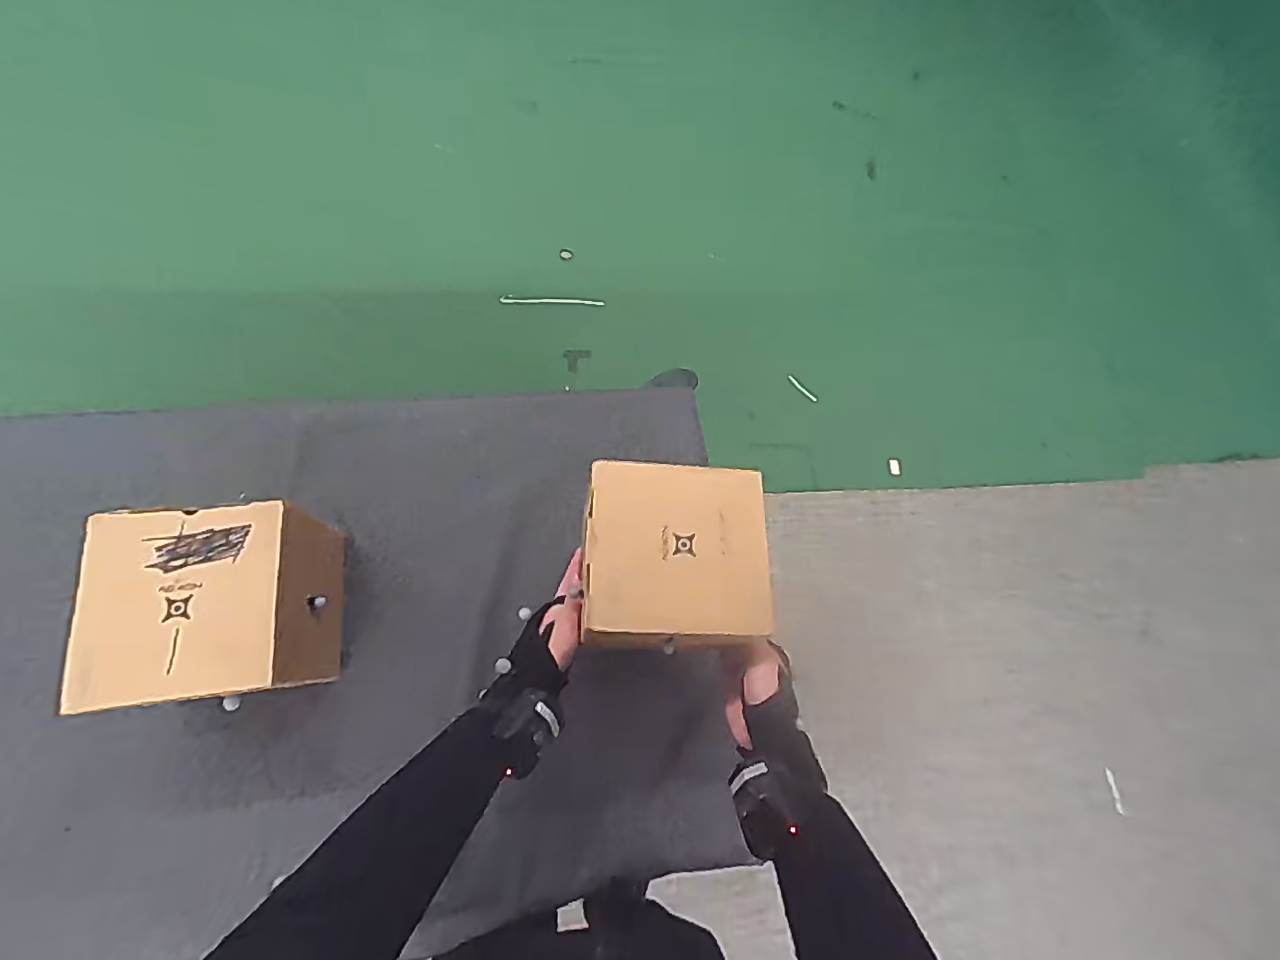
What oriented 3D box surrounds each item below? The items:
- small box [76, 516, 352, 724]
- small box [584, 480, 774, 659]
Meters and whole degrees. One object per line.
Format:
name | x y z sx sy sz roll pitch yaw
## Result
small box | -0.422 0.146 0.573 0.168 0.176 0.179 -4 73 -11
small box | 0.030 0.109 0.602 0.179 0.176 0.168 3 68 -9
